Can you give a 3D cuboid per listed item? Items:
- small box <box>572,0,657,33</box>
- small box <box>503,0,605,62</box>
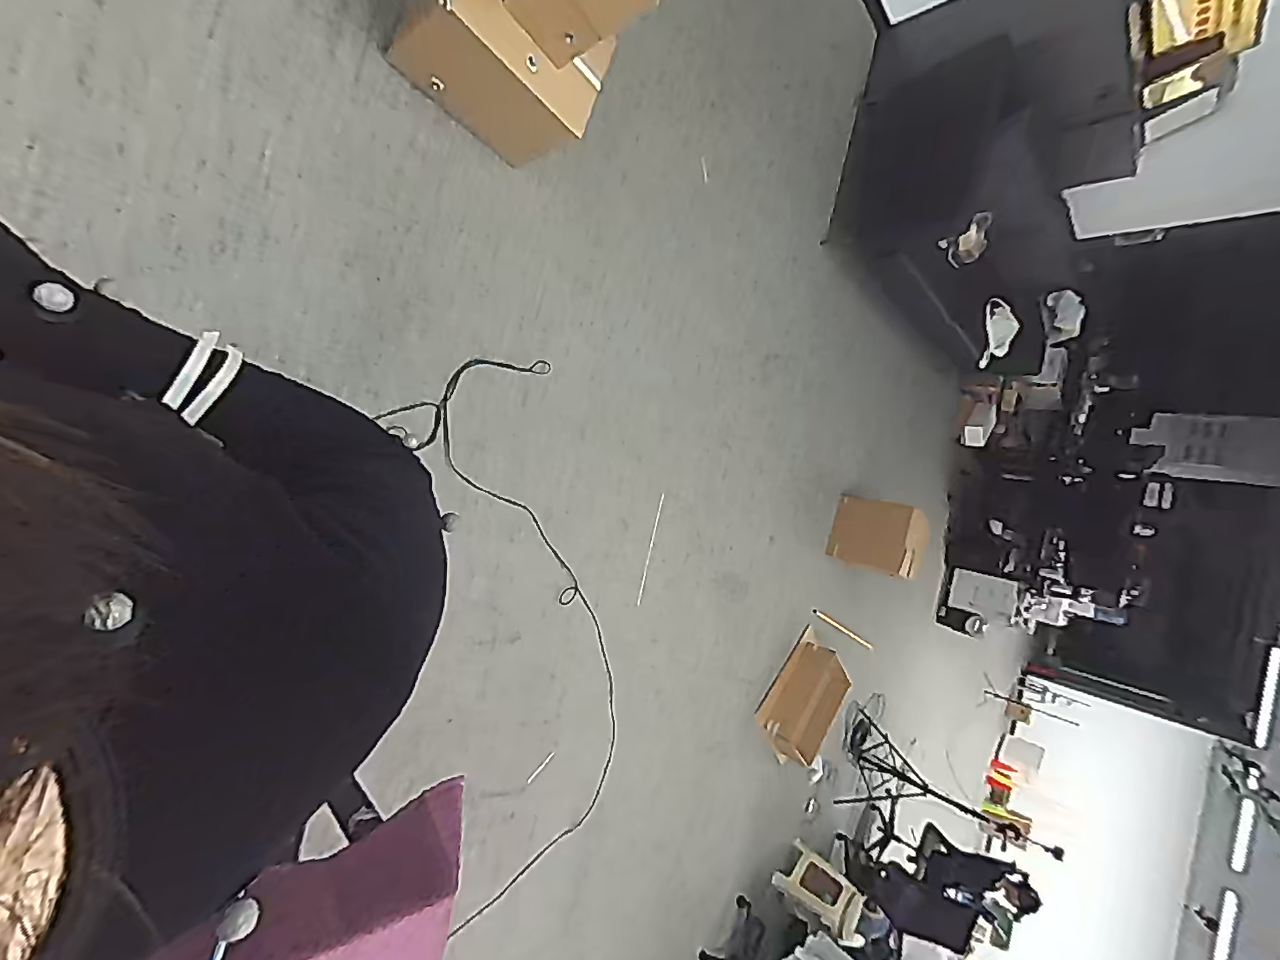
[{"bbox_3d":[-0.056,-1.073,1.109,0.179,0.176,0.168,30,74,-44],"label":"small box"},{"bbox_3d":[-0.174,-1.095,1.221,0.179,0.176,0.168,28,76,-45],"label":"small box"}]
